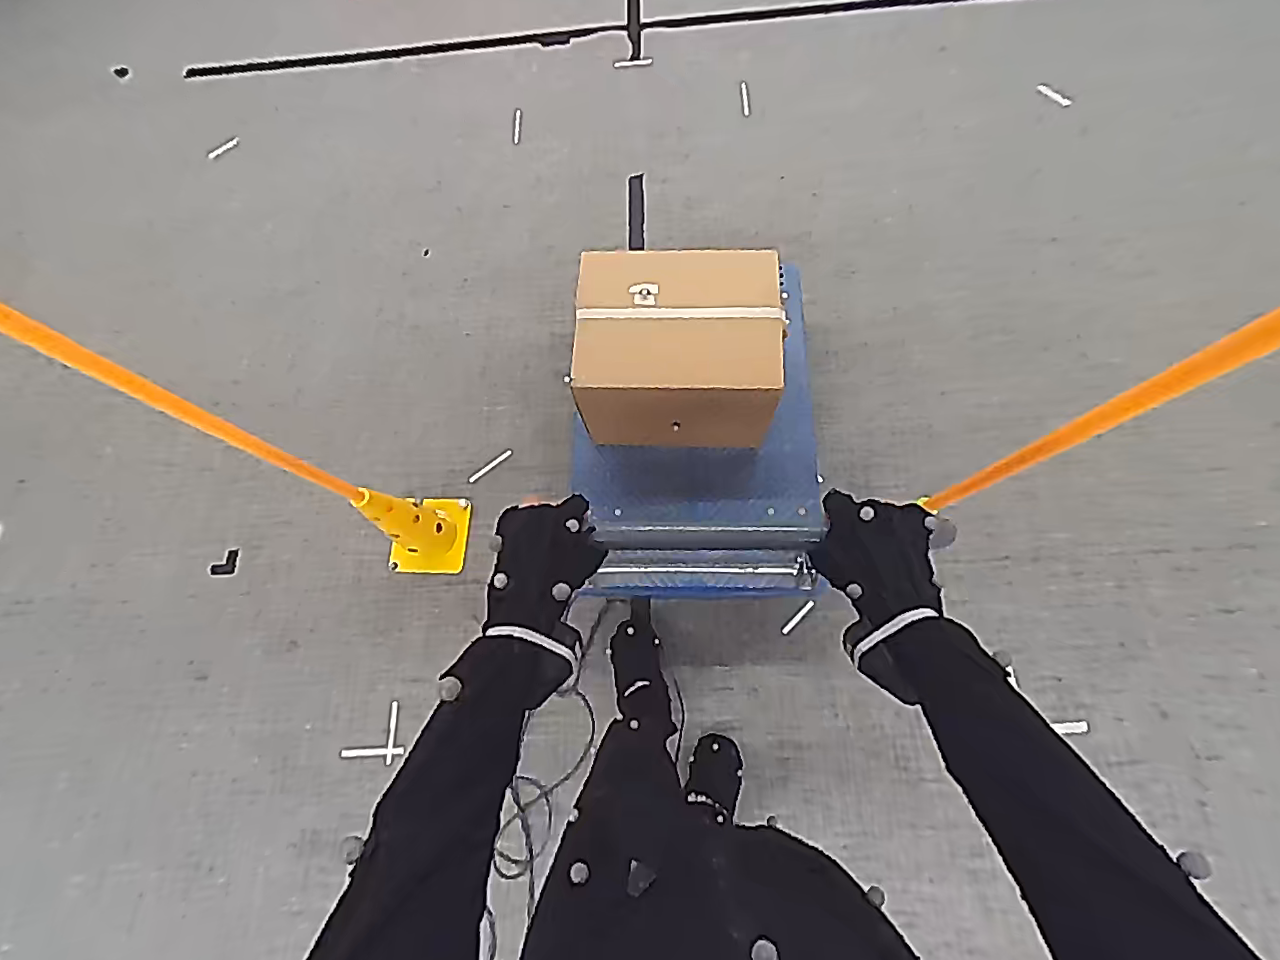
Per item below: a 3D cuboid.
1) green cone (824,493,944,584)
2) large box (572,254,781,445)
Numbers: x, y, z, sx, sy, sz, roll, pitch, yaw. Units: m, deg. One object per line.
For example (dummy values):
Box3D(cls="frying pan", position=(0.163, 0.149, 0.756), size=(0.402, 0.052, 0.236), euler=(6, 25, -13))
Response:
Box3D(cls="green cone", position=(0.563, 0.105, 1.200), size=(0.202, 0.368, 0.200), euler=(2, 72, 3))
Box3D(cls="large box", position=(0.083, -0.269, 1.208), size=(0.408, 0.320, 0.320), euler=(1, 73, 5))
